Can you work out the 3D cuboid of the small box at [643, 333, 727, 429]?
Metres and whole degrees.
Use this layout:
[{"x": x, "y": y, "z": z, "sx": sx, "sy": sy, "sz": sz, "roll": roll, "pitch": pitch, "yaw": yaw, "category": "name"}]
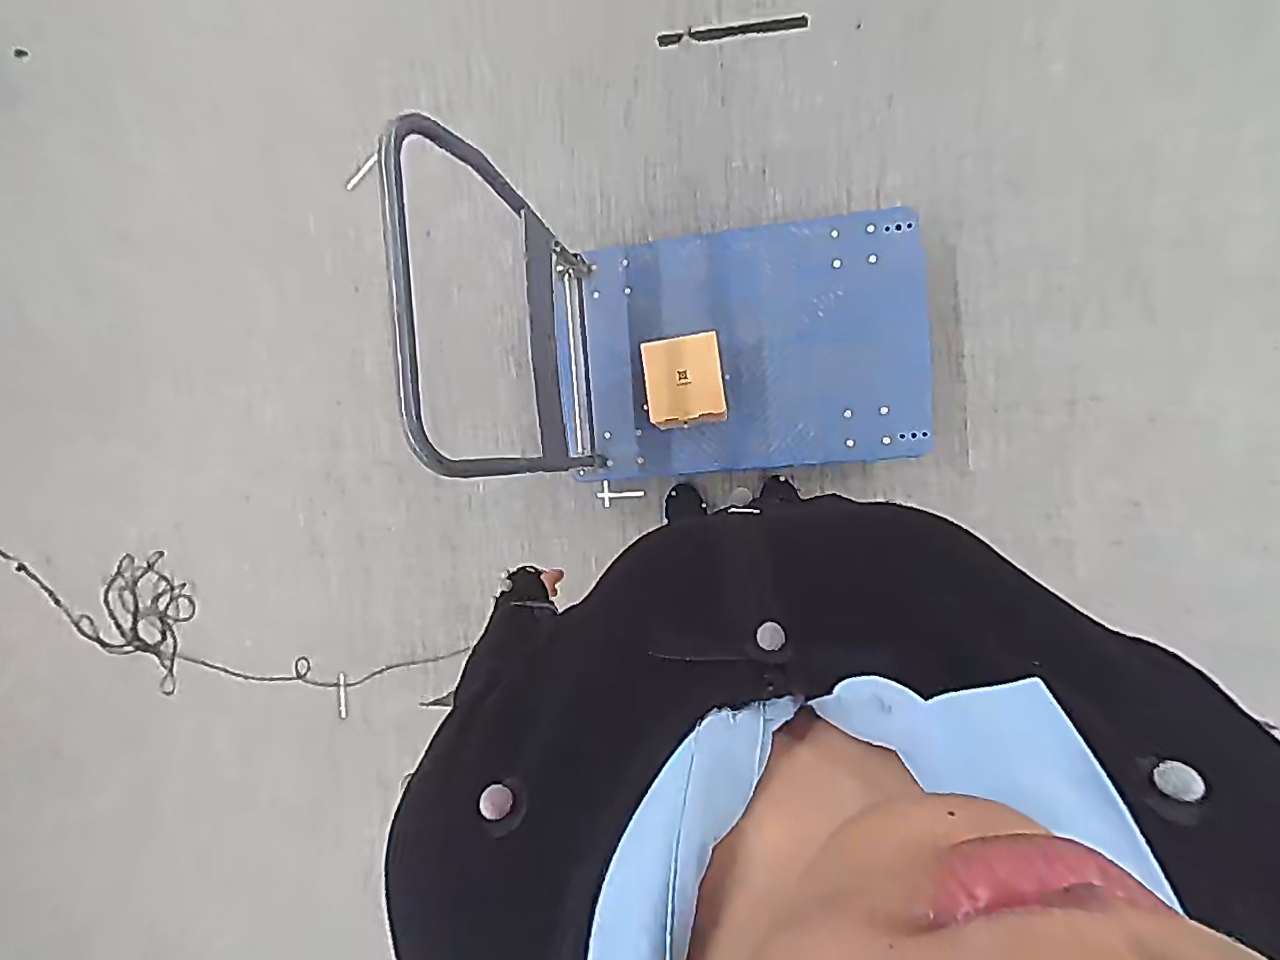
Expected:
[{"x": 0.105, "y": -0.220, "z": 1.237, "sx": 0.168, "sy": 0.176, "sz": 0.179, "roll": -8, "pitch": 90, "yaw": 9, "category": "small box"}]
